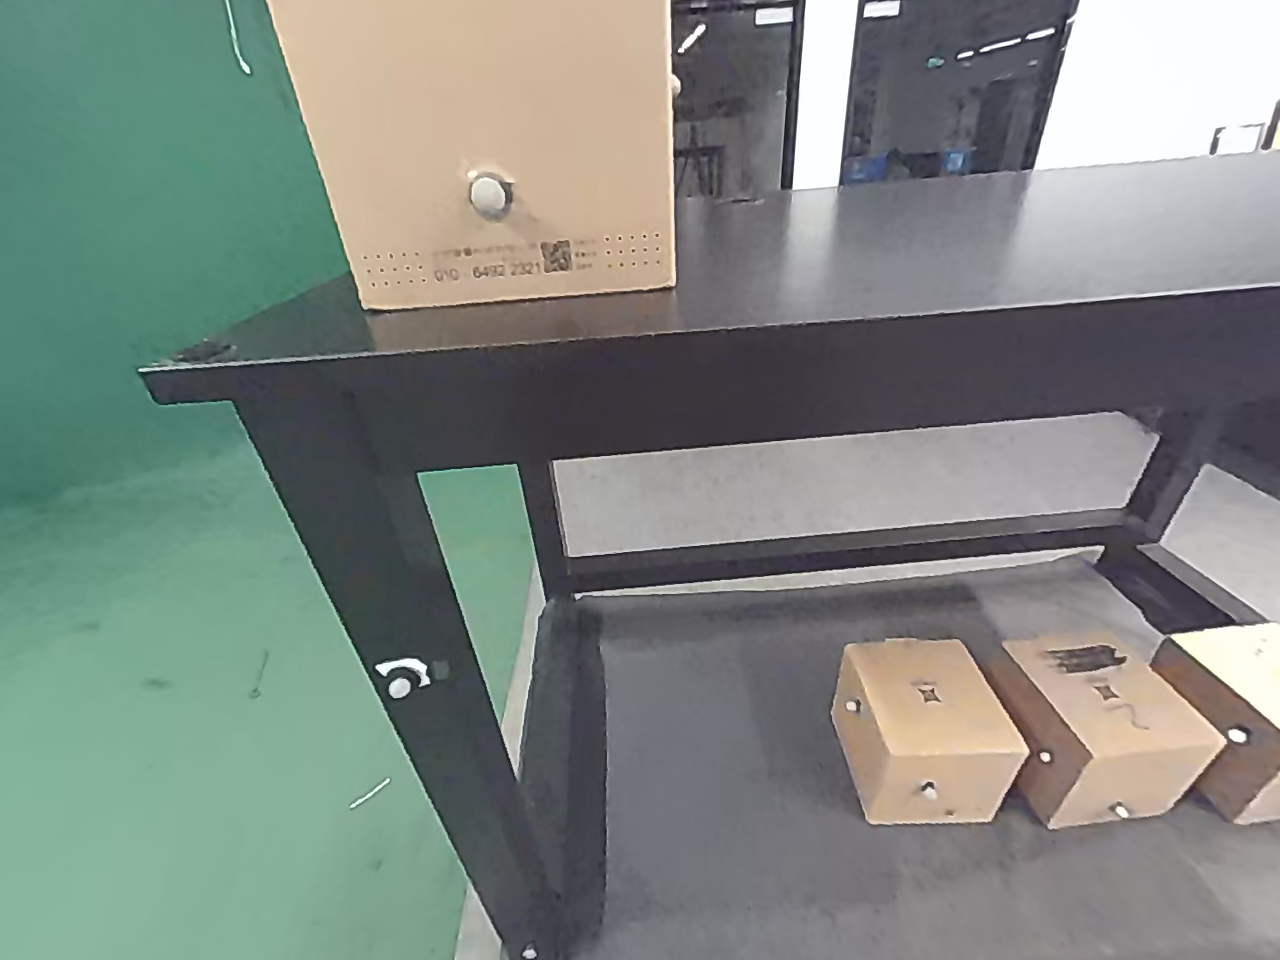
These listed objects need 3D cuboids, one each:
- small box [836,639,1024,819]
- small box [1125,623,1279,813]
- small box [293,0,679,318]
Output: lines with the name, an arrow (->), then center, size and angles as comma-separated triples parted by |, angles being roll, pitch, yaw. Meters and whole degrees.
small box -> 0.388, 0.351, 0.761 | 0.168, 0.176, 0.179 | -3, 31, 2
small box -> 0.835, 0.326, 0.737 | 0.168, 0.176, 0.179 | -6, 31, -2
small box -> -0.069, -0.202, 0.317 | 0.168, 0.176, 0.179 | -5, 33, -2
